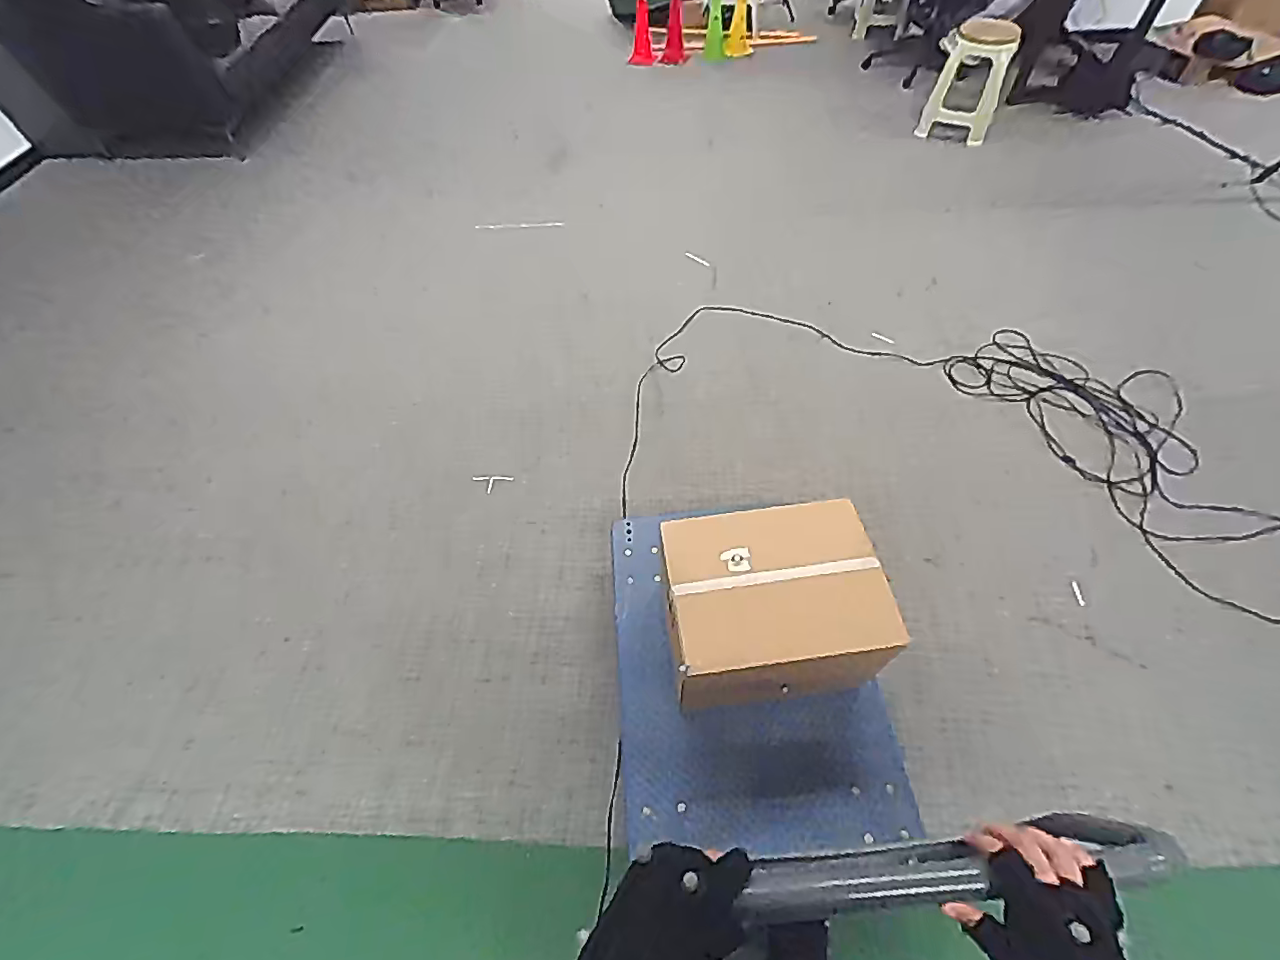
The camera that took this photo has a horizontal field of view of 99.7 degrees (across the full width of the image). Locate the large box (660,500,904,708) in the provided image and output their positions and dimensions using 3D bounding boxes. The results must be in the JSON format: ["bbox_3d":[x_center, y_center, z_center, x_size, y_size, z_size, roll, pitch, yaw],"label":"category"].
[{"bbox_3d":[0.265,0.276,1.162,0.408,0.320,0.320,-7,55,-2],"label":"large box"}]
